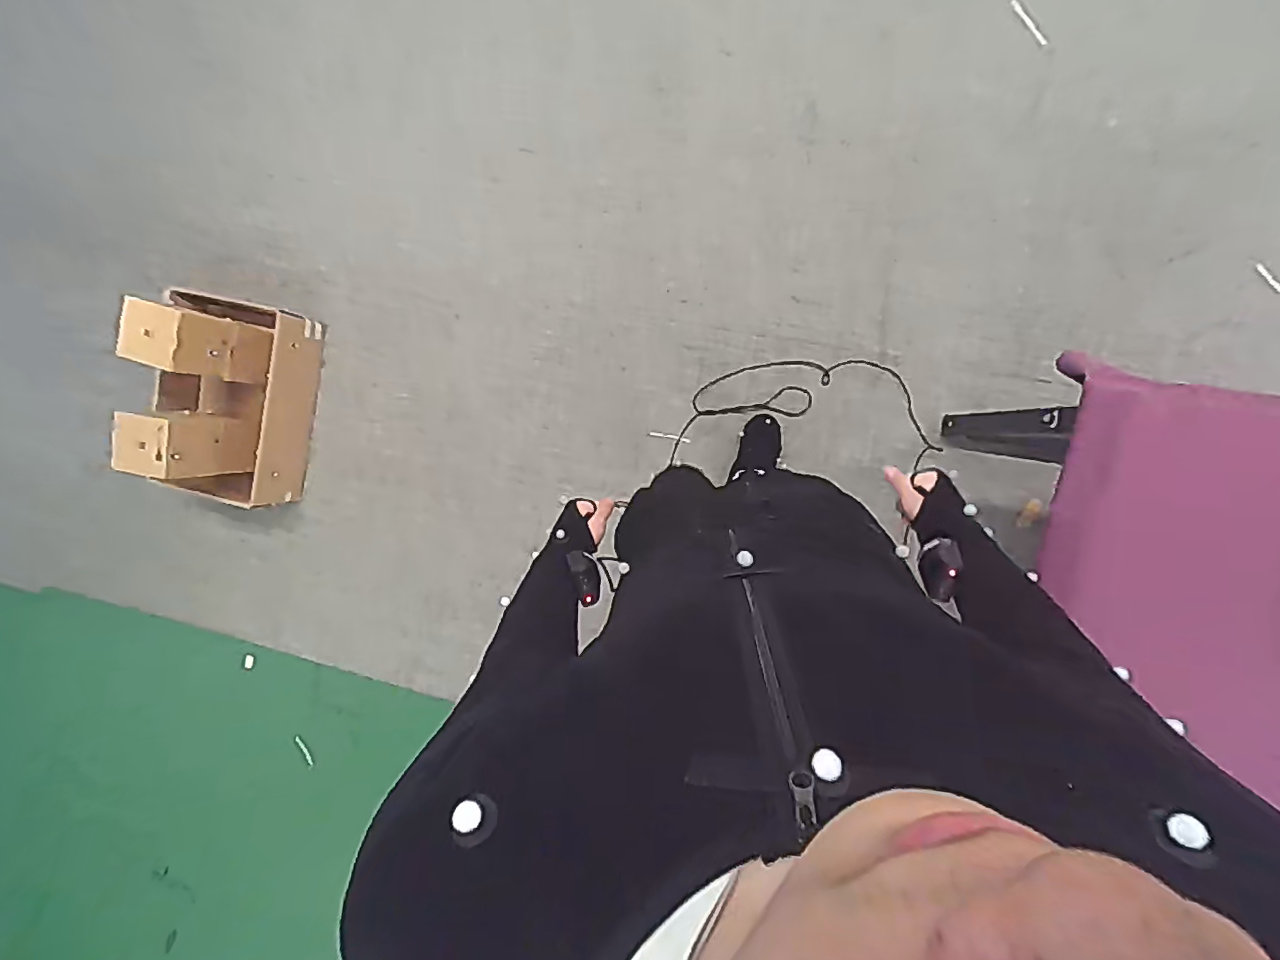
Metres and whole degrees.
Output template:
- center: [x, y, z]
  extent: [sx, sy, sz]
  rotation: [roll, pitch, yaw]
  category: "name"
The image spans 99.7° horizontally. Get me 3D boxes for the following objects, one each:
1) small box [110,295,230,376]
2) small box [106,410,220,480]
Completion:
- center: [-1.301, -0.395, 1.505]
  extent: [0.179, 0.176, 0.168]
  rotation: [17, 97, 5]
  category: "small box"
- center: [-1.353, -0.101, 1.538]
  extent: [0.179, 0.176, 0.168]
  rotation: [11, 97, 8]
  category: "small box"
